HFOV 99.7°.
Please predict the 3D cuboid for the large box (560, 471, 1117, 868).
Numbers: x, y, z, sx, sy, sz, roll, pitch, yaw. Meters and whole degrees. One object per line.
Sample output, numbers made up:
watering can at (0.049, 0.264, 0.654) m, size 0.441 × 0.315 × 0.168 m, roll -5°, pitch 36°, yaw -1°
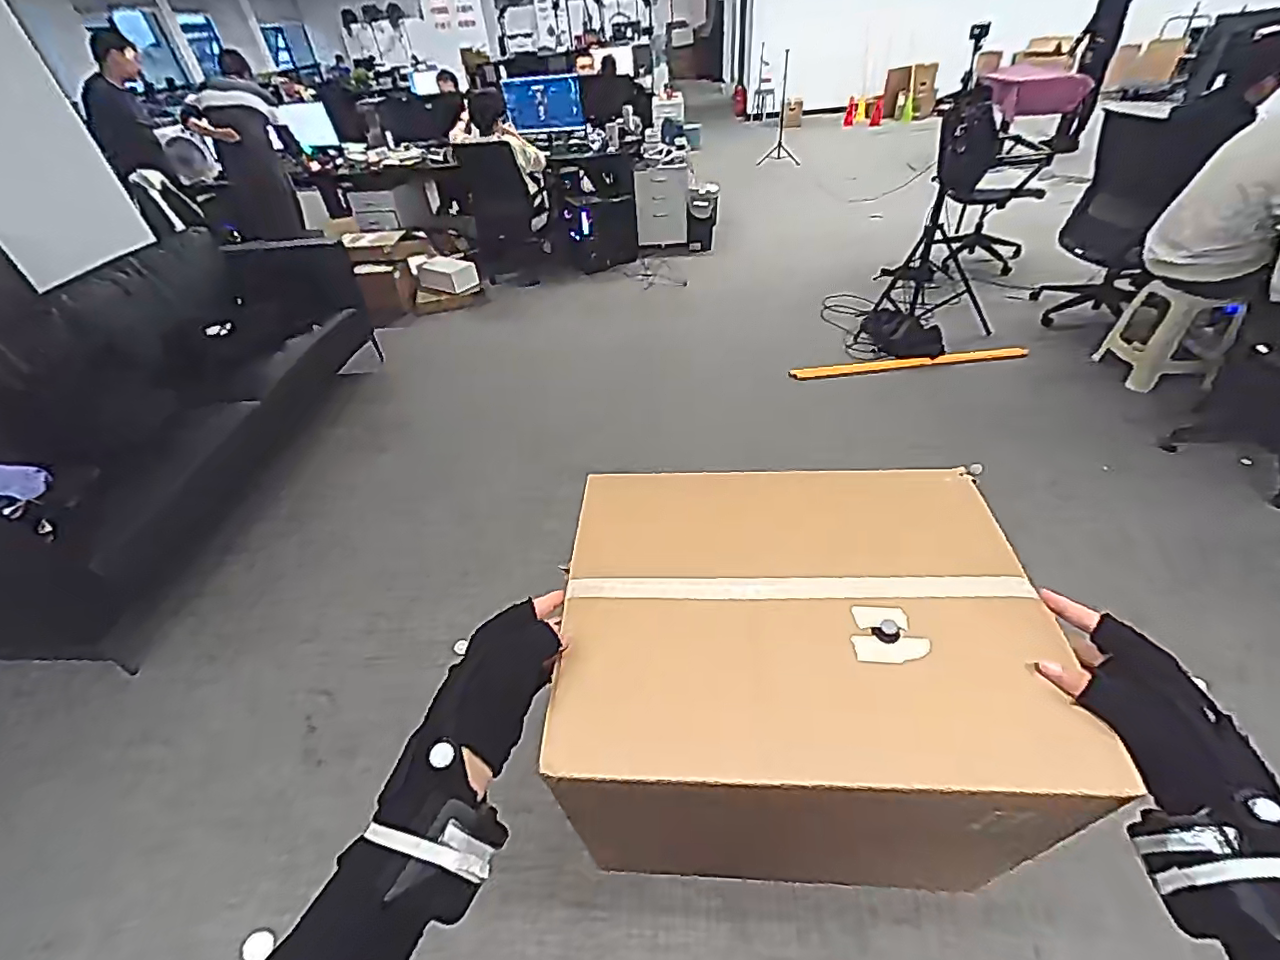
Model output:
large box at (0.148, 0.206, 0.595) m, size 0.408 × 0.320 × 0.320 m, roll 0°, pitch 44°, yaw 4°
